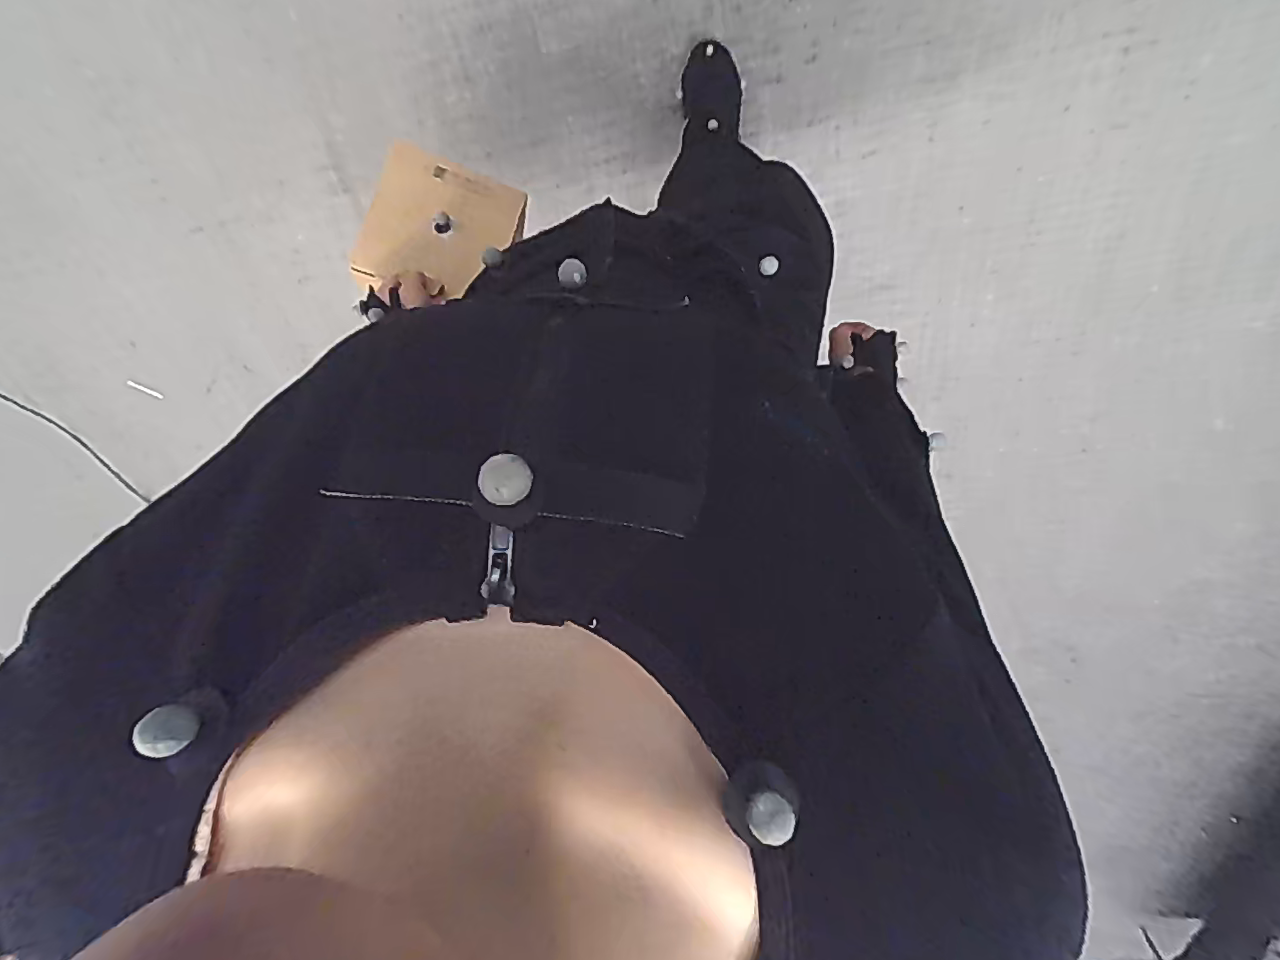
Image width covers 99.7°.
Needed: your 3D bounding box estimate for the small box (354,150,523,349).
[{"bbox_3d":[-0.261,-0.301,0.733,0.168,0.179,0.176,15,86,-14],"label":"small box"}]
